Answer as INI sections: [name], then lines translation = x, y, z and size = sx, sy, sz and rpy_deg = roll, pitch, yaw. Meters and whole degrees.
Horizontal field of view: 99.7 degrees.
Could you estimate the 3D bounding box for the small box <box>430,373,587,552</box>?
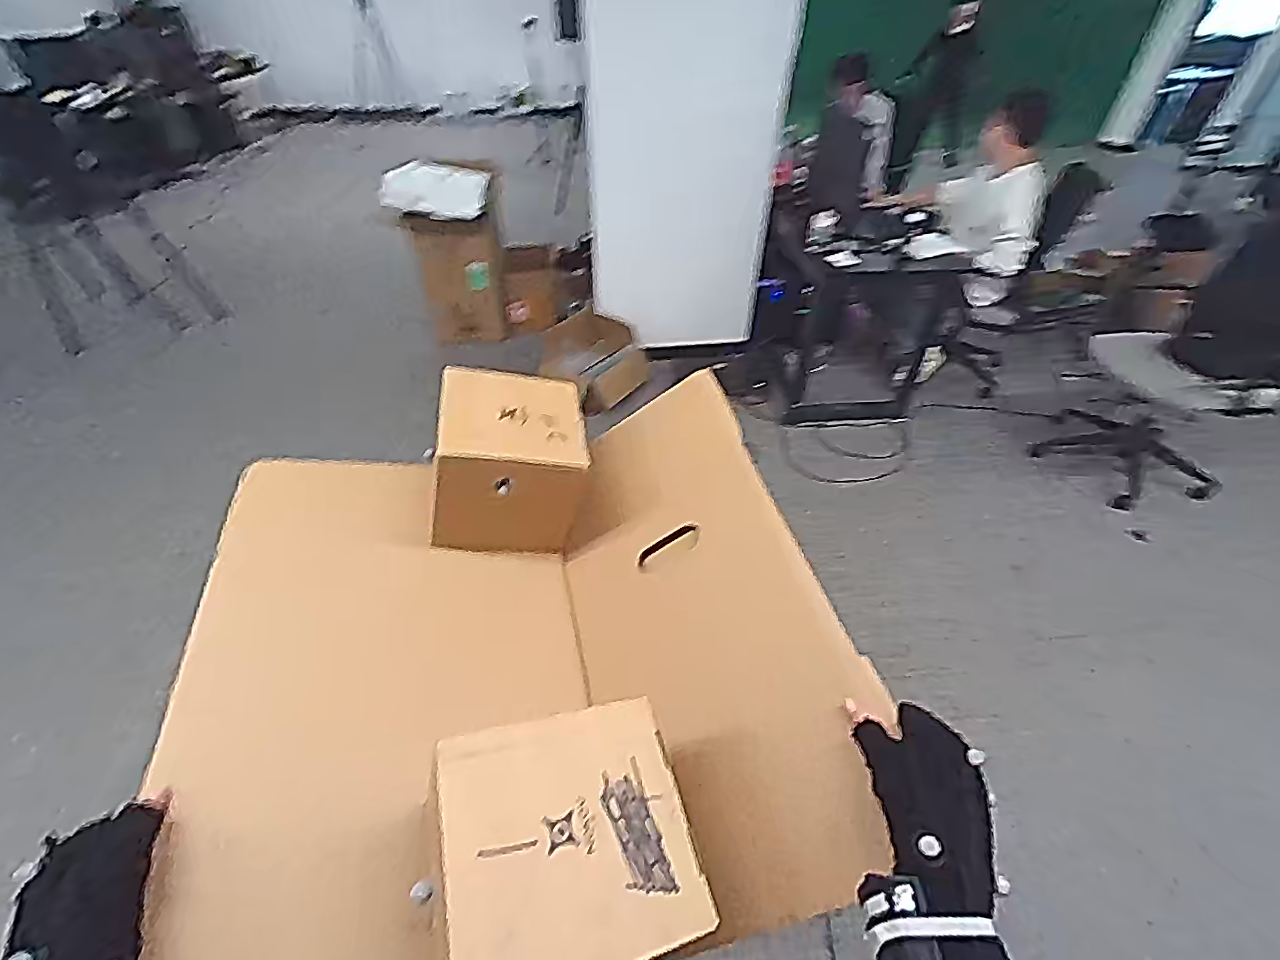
[small box]
translation = -0.182, -0.018, 0.727
size = 0.179, 0.176, 0.168
rpy_deg = 6, 45, -21
